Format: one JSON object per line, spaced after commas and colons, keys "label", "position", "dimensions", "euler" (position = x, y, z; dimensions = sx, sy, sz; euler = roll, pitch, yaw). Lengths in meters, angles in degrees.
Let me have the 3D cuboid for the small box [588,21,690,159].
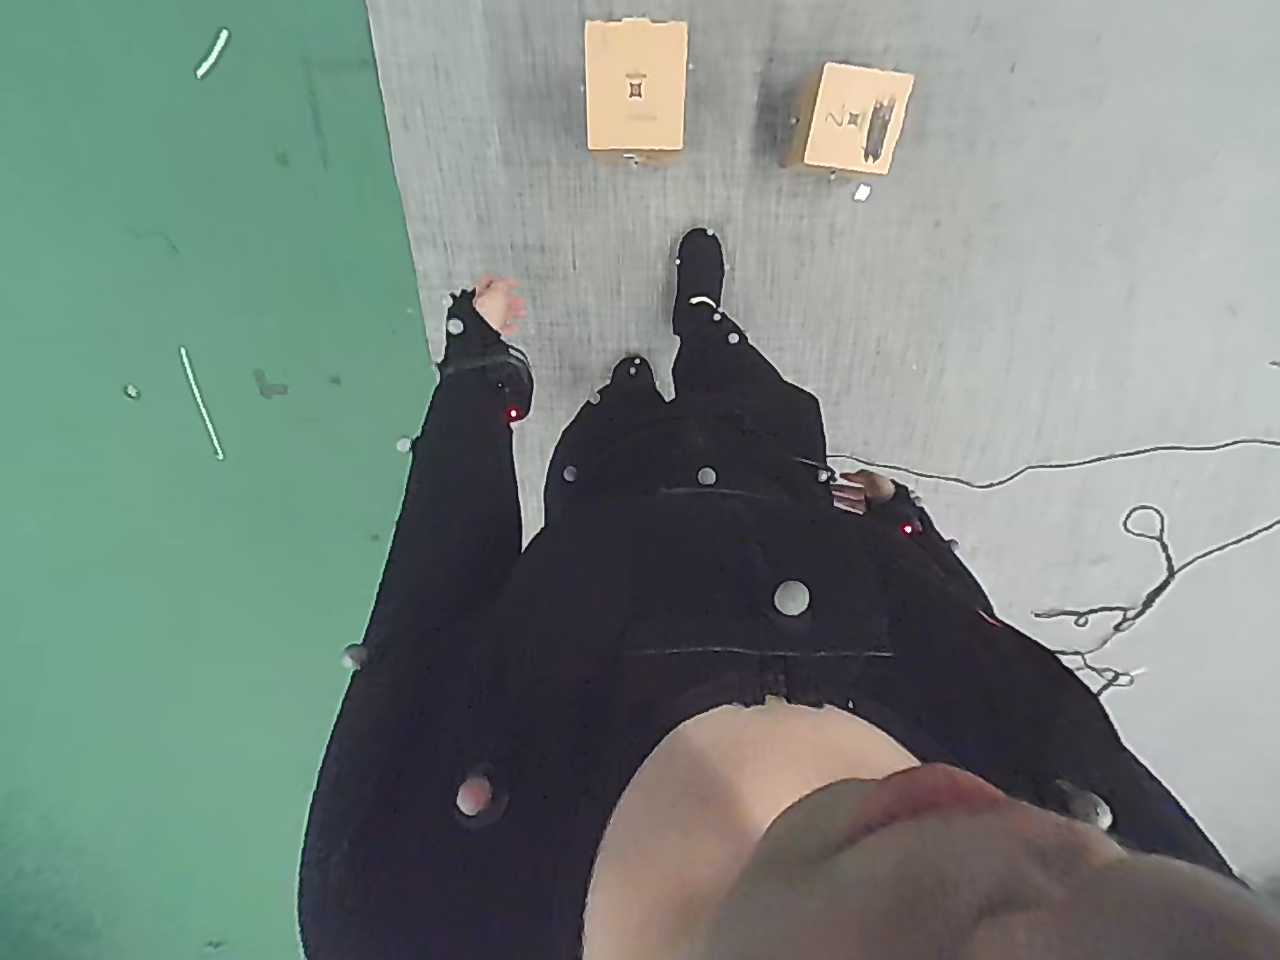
{"label": "small box", "position": [-0.002, -0.680, 0.960], "dimensions": [0.168, 0.176, 0.179], "euler": [1, 118, 2]}
